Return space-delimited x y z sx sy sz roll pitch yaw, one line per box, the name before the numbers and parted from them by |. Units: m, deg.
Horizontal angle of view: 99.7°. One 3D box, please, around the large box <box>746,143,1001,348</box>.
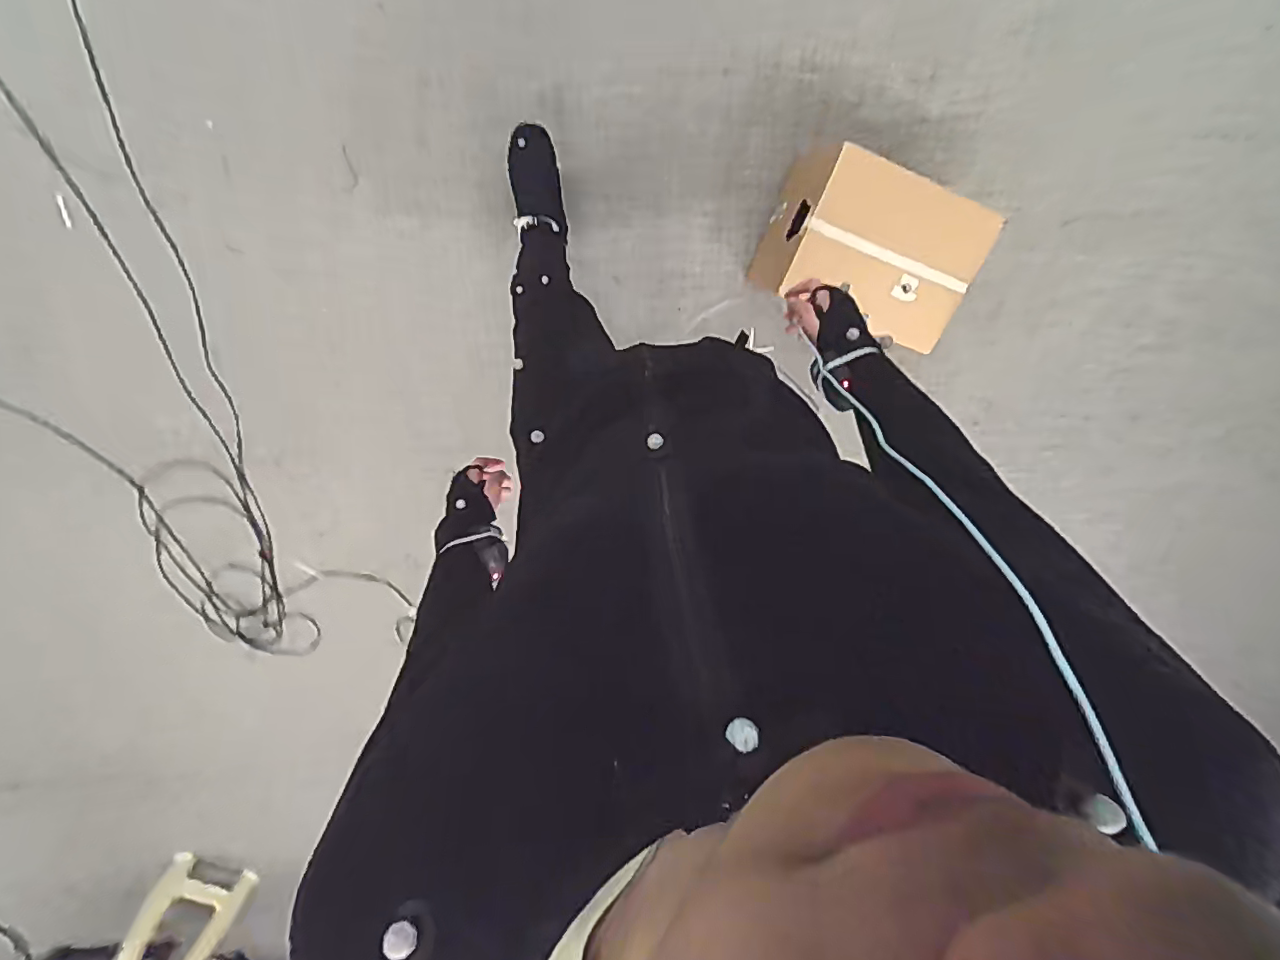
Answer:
large box | 0.525 -0.551 1.304 0.408 0.320 0.320 17 113 -11
